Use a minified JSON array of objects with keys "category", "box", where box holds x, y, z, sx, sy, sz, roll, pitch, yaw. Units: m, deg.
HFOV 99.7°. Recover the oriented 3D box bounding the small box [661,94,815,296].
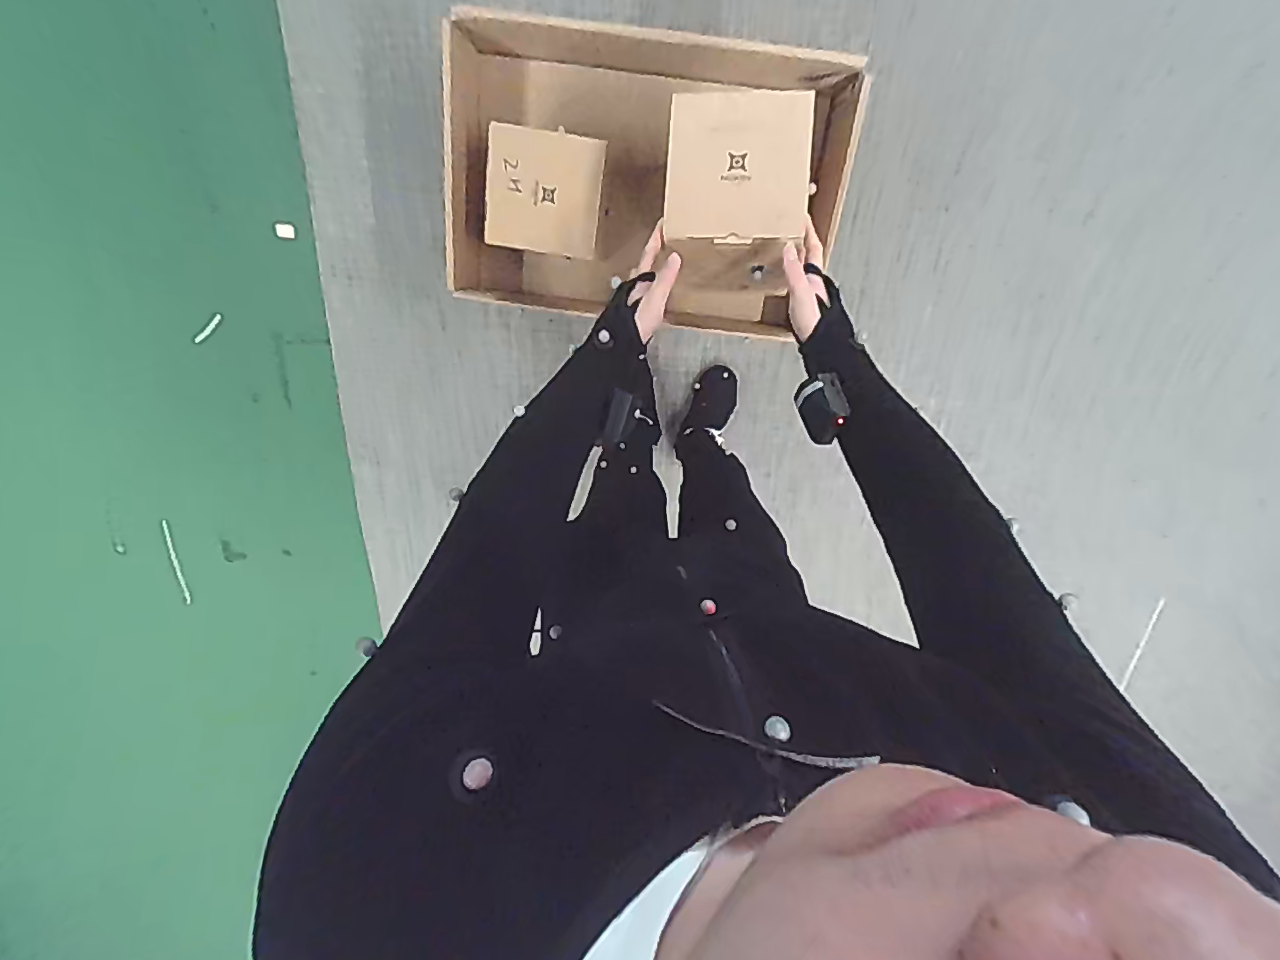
[{"category":"small box","box":[0.123,-0.354,0.700,0.168,0.176,0.179,4,86,7]}]
